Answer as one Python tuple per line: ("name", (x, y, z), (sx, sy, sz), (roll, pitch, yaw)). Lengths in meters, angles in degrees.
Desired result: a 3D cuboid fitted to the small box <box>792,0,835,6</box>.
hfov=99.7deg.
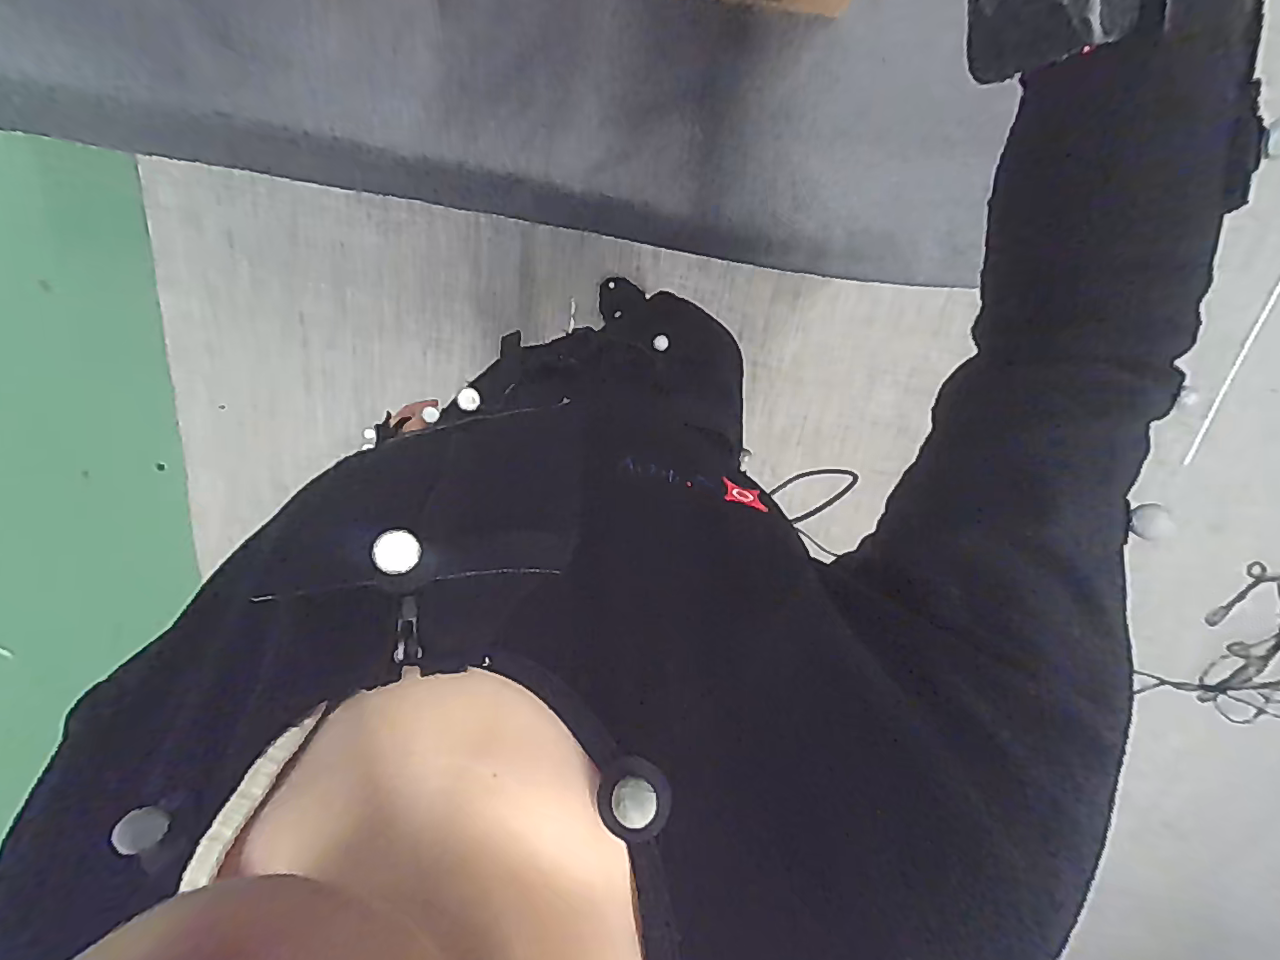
("small box", (0.097, -0.463, 0.359), (0.168, 0.176, 0.179), (8, 111, 0))
